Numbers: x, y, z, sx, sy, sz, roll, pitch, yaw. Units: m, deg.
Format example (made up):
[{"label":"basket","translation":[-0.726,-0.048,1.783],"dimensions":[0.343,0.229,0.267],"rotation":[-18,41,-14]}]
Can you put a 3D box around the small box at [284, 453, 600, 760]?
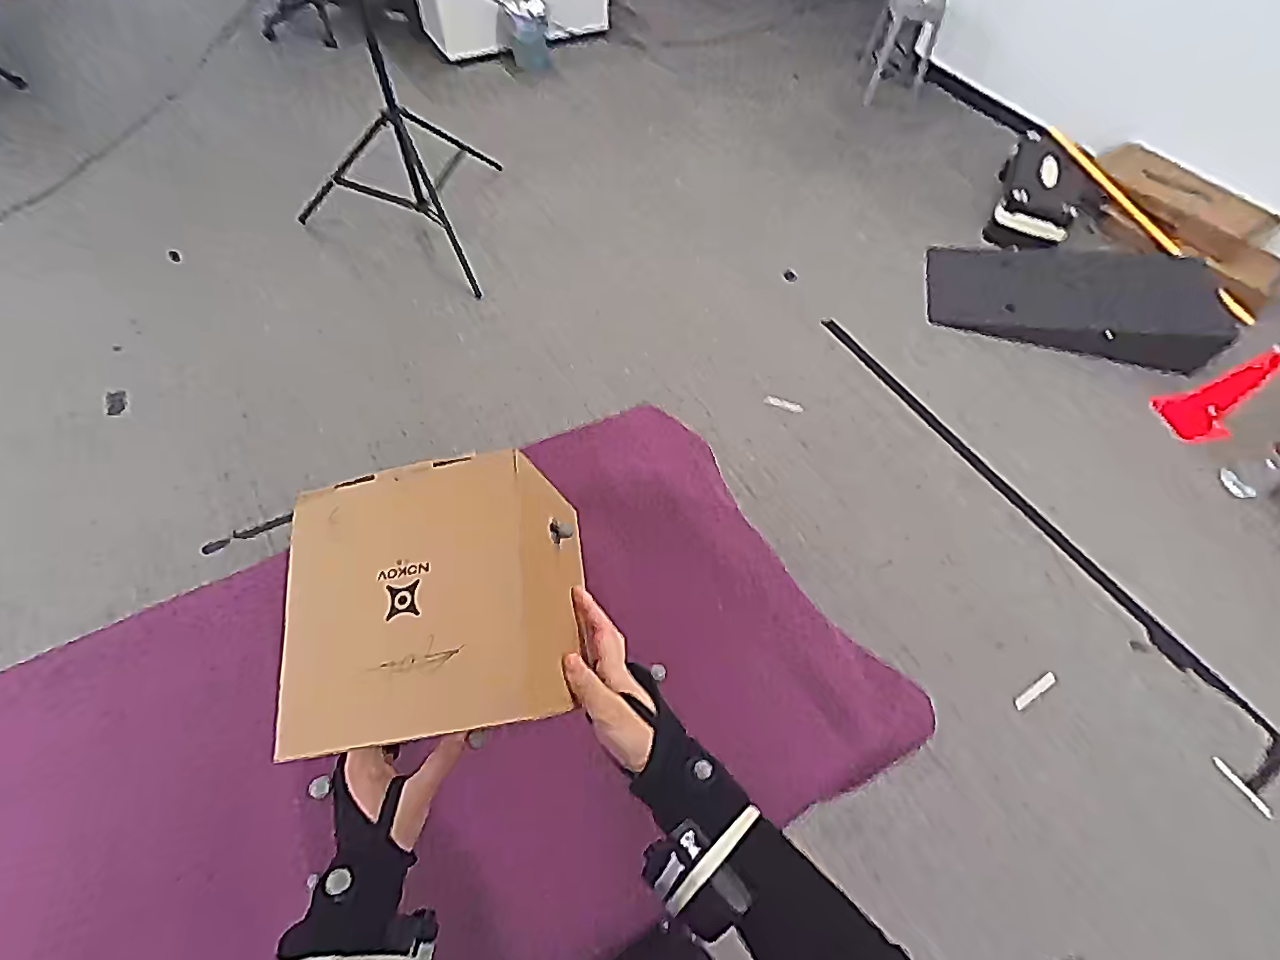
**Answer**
[{"label":"small box","translation":[-0.134,0.101,0.421],"dimensions":[0.168,0.176,0.179],"rotation":[-11,70,5]}]
